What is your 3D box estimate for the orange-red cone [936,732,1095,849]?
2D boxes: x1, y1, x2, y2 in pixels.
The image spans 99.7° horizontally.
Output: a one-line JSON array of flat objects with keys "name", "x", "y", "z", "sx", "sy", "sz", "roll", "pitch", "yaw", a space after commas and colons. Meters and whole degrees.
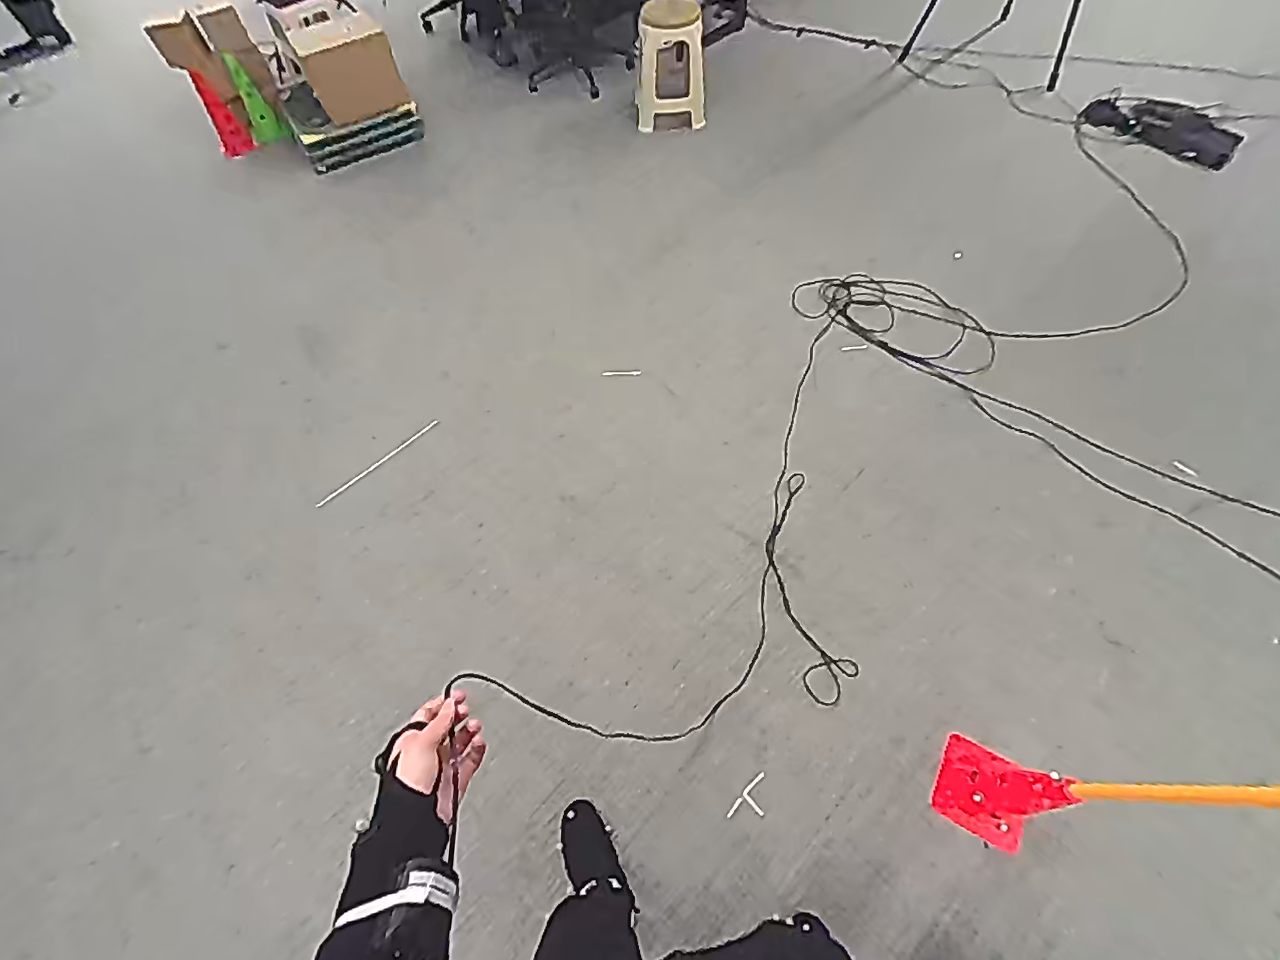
[{"name": "orange-red cone", "x": 0.833, "y": 0.659, "z": 1.162, "sx": 0.198, "sy": 0.360, "sz": 0.199, "roll": 27, "pitch": 64, "yaw": 16}]
